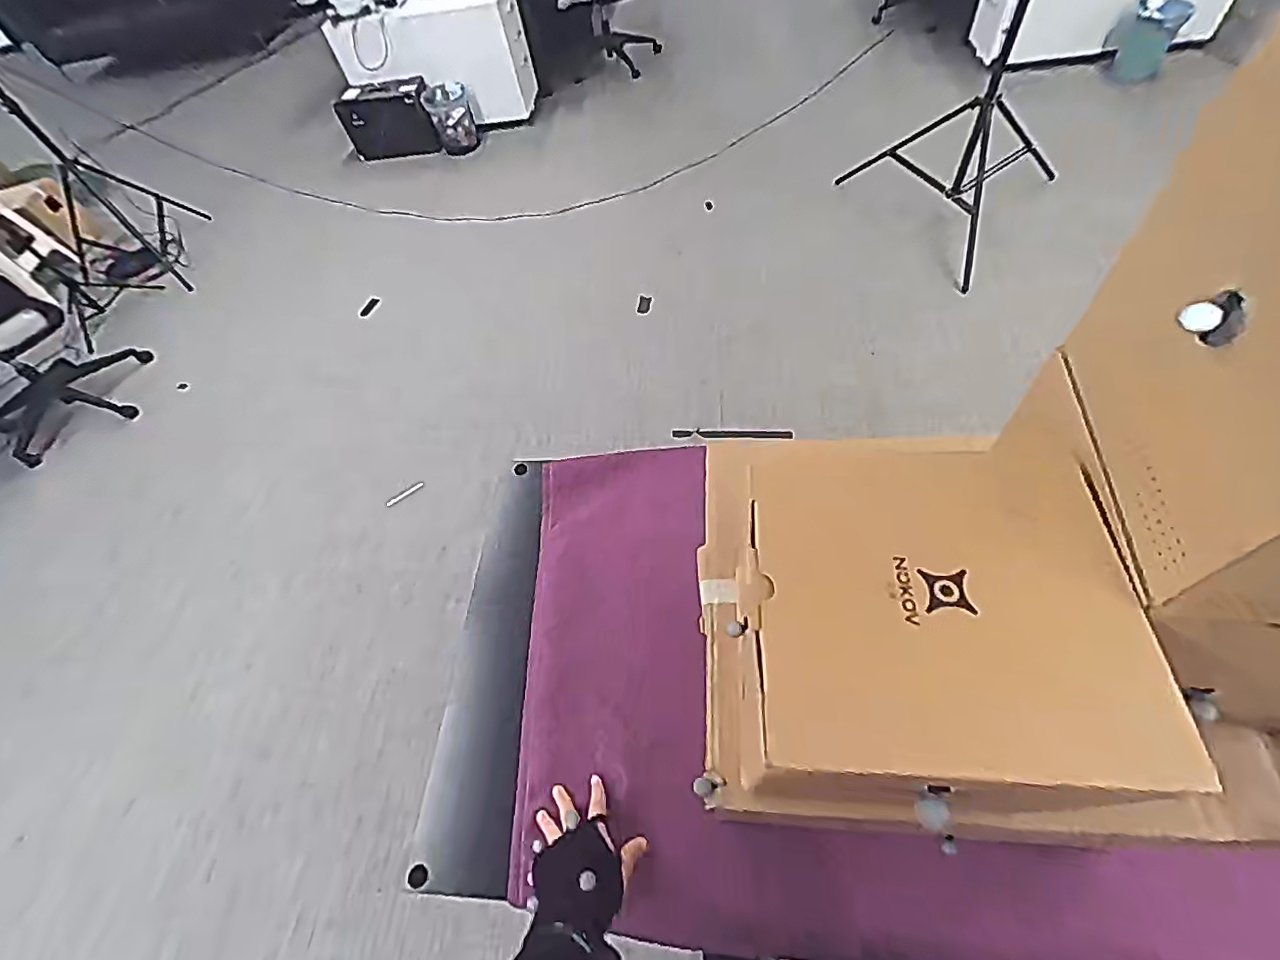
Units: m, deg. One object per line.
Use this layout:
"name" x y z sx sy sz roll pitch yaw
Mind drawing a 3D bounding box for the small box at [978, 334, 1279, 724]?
"small box" 0.336 0.033 0.334 0.168 0.176 0.179 3 57 13

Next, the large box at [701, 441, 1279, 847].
"large box" 0.274 0.177 0.546 0.408 0.320 0.320 -3 55 9
